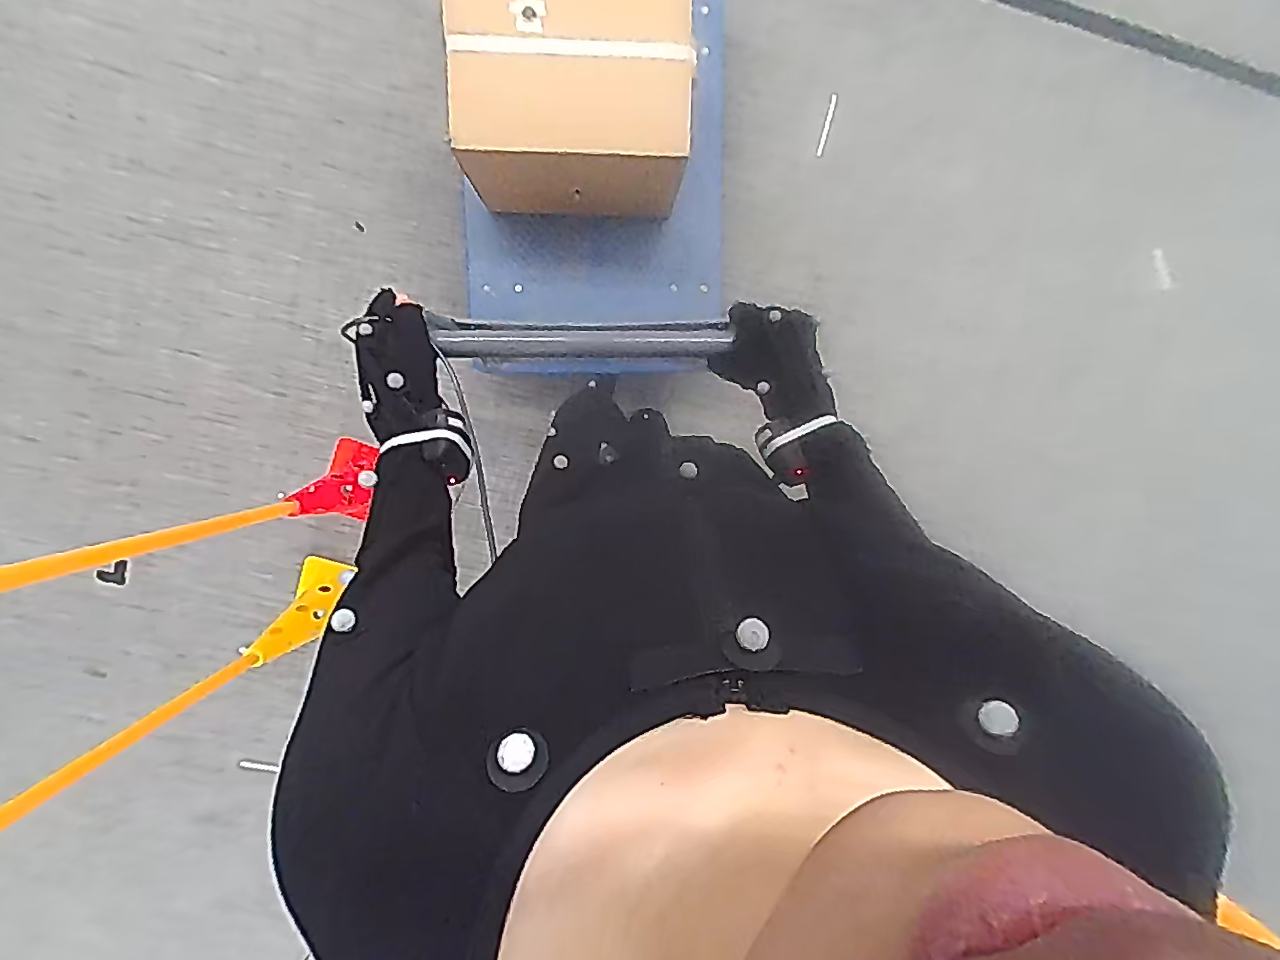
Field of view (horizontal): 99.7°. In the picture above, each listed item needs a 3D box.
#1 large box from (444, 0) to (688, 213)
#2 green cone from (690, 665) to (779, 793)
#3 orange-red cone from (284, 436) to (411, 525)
[{"bbox_3d":[-0.125,-0.723,1.039,0.408,0.320,0.320,0,98,-3],"label":"large box"},{"bbox_3d":[0.274,0.665,1.388,0.202,0.368,0.200,17,96,-7],"label":"green cone"},{"bbox_3d":[-0.705,0.022,1.245,0.198,0.360,0.199,21,94,-7],"label":"orange-red cone"}]
